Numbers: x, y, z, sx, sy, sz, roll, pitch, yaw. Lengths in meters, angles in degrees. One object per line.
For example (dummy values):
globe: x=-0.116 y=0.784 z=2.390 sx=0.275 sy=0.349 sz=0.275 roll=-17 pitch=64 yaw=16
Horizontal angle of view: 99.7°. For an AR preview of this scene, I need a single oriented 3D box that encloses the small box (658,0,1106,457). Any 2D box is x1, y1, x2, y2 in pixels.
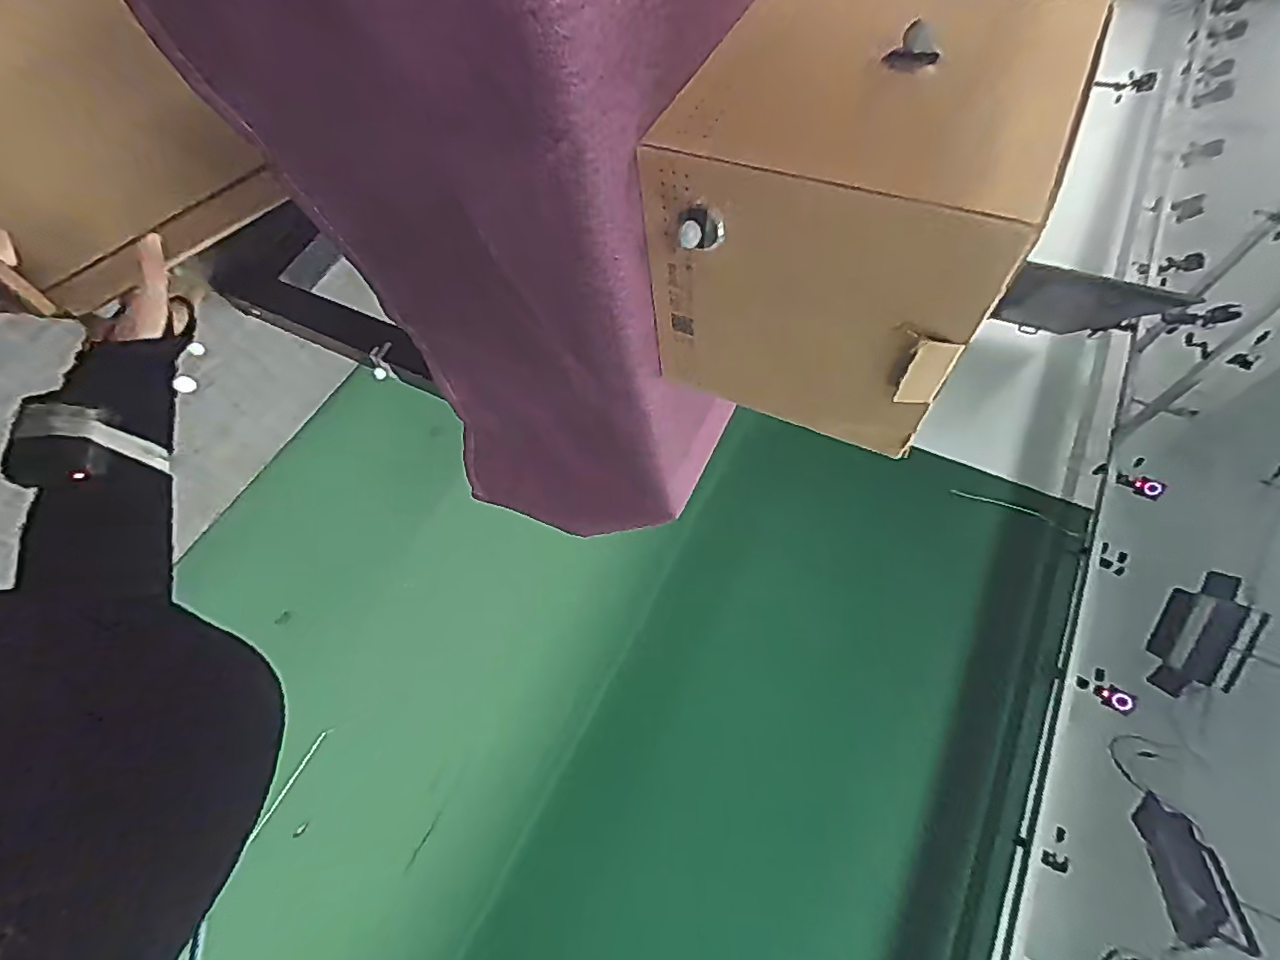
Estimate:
small box: x=0.117 y=-0.148 z=0.319 sx=0.179 sy=0.176 sz=0.168 roll=-60 pitch=161 yaw=-21
